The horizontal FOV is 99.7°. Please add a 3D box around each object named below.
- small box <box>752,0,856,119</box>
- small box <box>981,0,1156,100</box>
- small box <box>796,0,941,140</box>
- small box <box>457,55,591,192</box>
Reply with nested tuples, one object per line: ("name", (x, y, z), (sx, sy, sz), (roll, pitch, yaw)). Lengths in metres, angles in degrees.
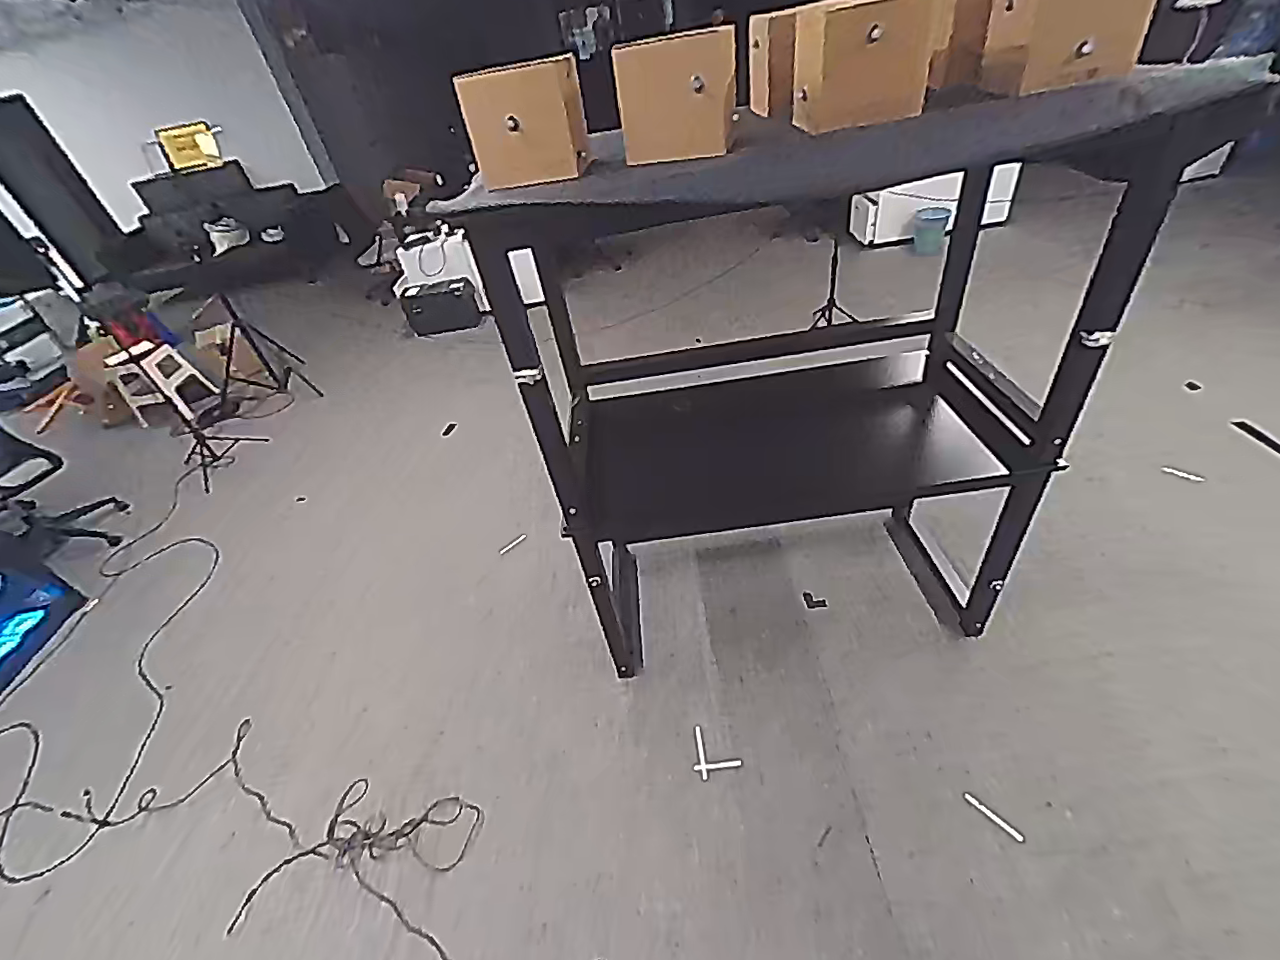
("small box", (0.327, -0.860, 1.113), (0.168, 0.176, 0.179), (-9, 40, 4))
("small box", (0.694, -0.744, 0.889), (0.168, 0.176, 0.179), (-4, 41, 10))
("small box", (0.374, -0.703, 0.921), (0.179, 0.176, 0.168), (-9, 40, 4))
("small box", (-0.192, -0.635, 0.966), (0.179, 0.176, 0.168), (-4, 39, 9))
